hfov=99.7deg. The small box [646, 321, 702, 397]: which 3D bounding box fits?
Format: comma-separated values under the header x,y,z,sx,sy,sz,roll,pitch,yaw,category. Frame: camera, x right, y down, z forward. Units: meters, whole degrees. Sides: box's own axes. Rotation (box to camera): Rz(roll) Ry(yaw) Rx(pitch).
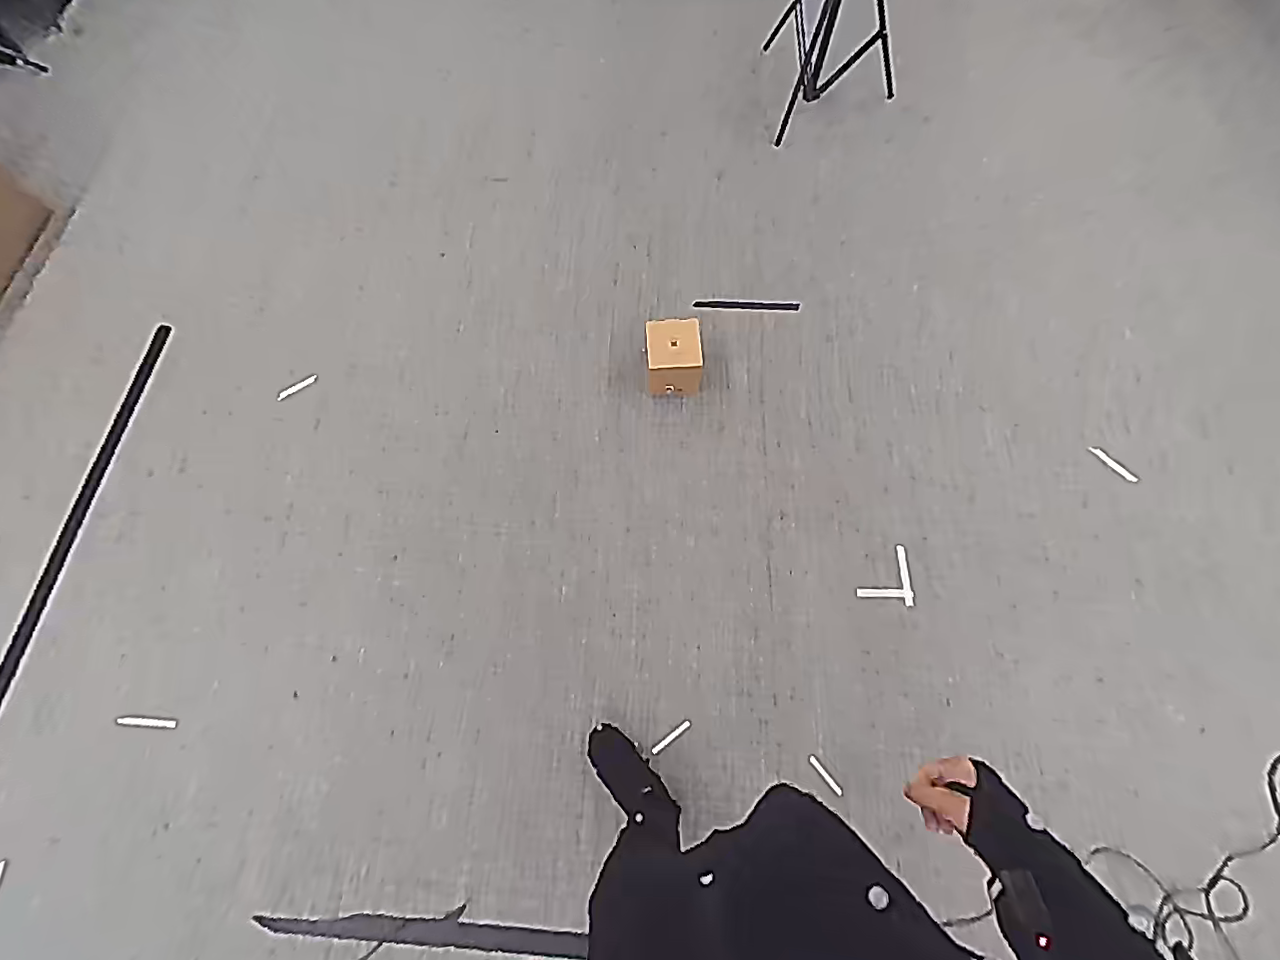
x,y,z,sx,sy,sz,roll,pitch,yaw,category
0.103,-0.383,1.724,0.168,0.176,0.179,-3,69,0,small box
